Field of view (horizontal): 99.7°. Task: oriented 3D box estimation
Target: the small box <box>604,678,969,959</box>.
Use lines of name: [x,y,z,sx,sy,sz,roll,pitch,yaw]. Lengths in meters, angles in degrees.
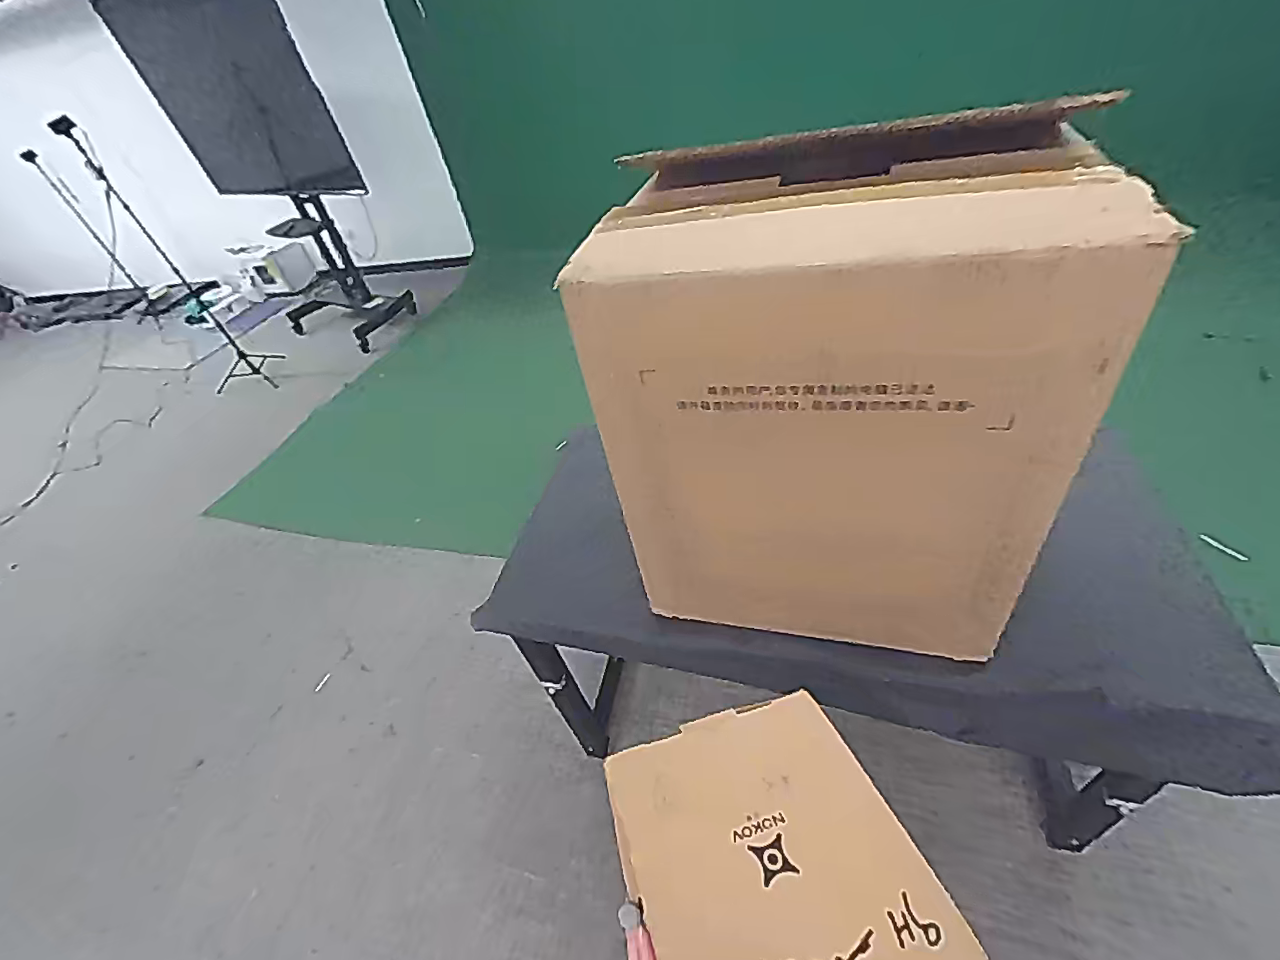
small box: [0.080,0.282,0.381,0.168,0.176,0.179,-14,34,-13]
